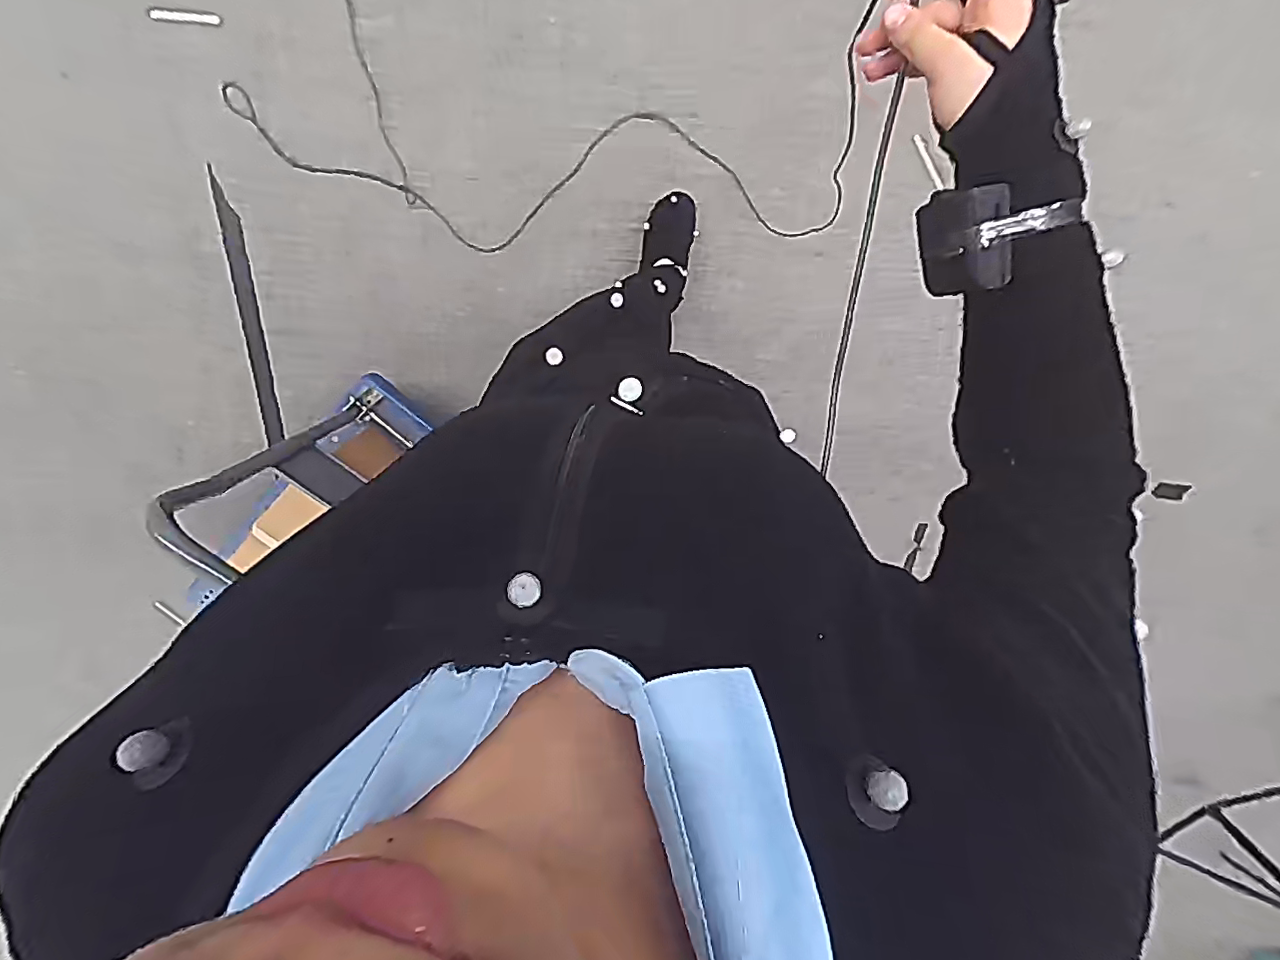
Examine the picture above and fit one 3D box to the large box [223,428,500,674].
[{"bbox_3d":[-0.601,0.154,1.245,0.320,0.320,0.408,-43,107,16],"label":"large box"}]
